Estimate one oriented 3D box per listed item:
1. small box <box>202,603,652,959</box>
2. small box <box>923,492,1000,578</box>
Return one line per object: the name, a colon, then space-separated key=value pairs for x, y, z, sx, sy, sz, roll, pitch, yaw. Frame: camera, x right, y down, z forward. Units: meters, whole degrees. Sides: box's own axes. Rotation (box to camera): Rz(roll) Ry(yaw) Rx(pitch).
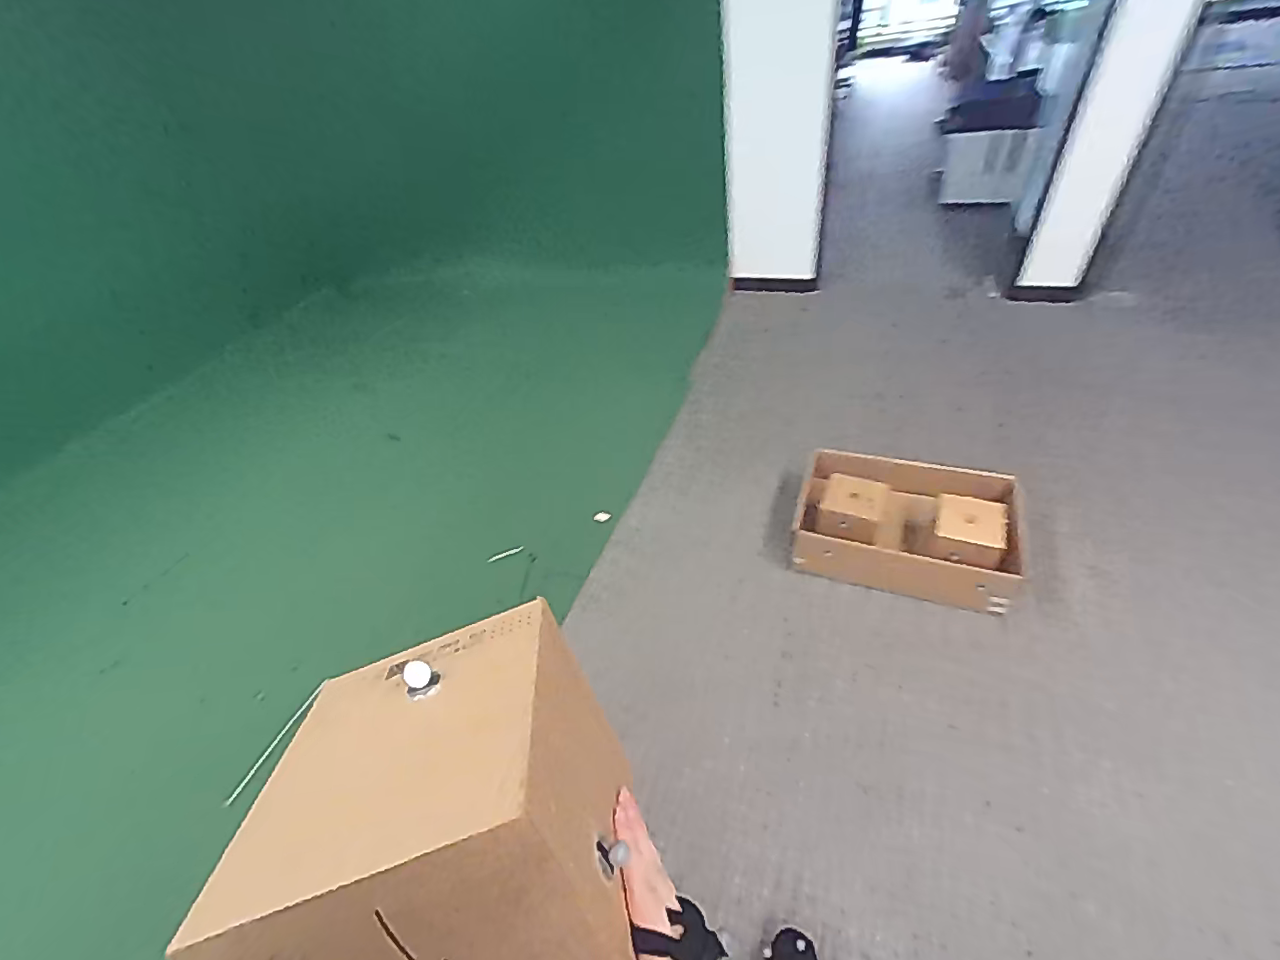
small box: x=-0.098 y=0.211 z=0.340 sx=0.168 sy=0.179 sz=0.176 roll=-20 pitch=21 yaw=1
small box: x=0.952 y=0.165 z=1.607 sx=0.168 sy=0.176 sz=0.179 roll=12 pitch=49 yaw=22
